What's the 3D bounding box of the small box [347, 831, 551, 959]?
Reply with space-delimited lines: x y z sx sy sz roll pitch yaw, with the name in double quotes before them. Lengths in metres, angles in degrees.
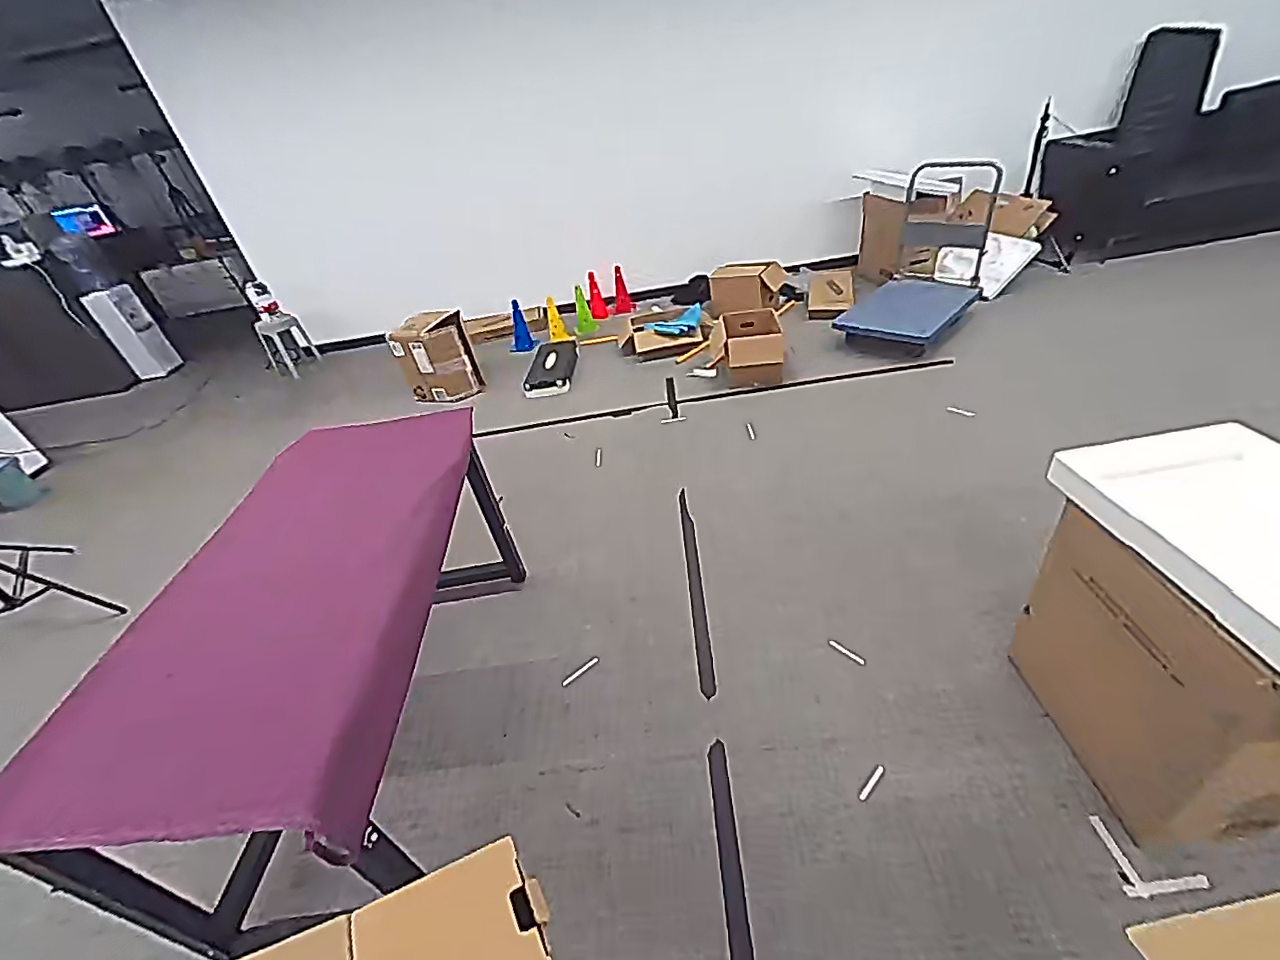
"small box" -0.192 0.533 0.572 0.179 0.176 0.168 -13 30 -26
